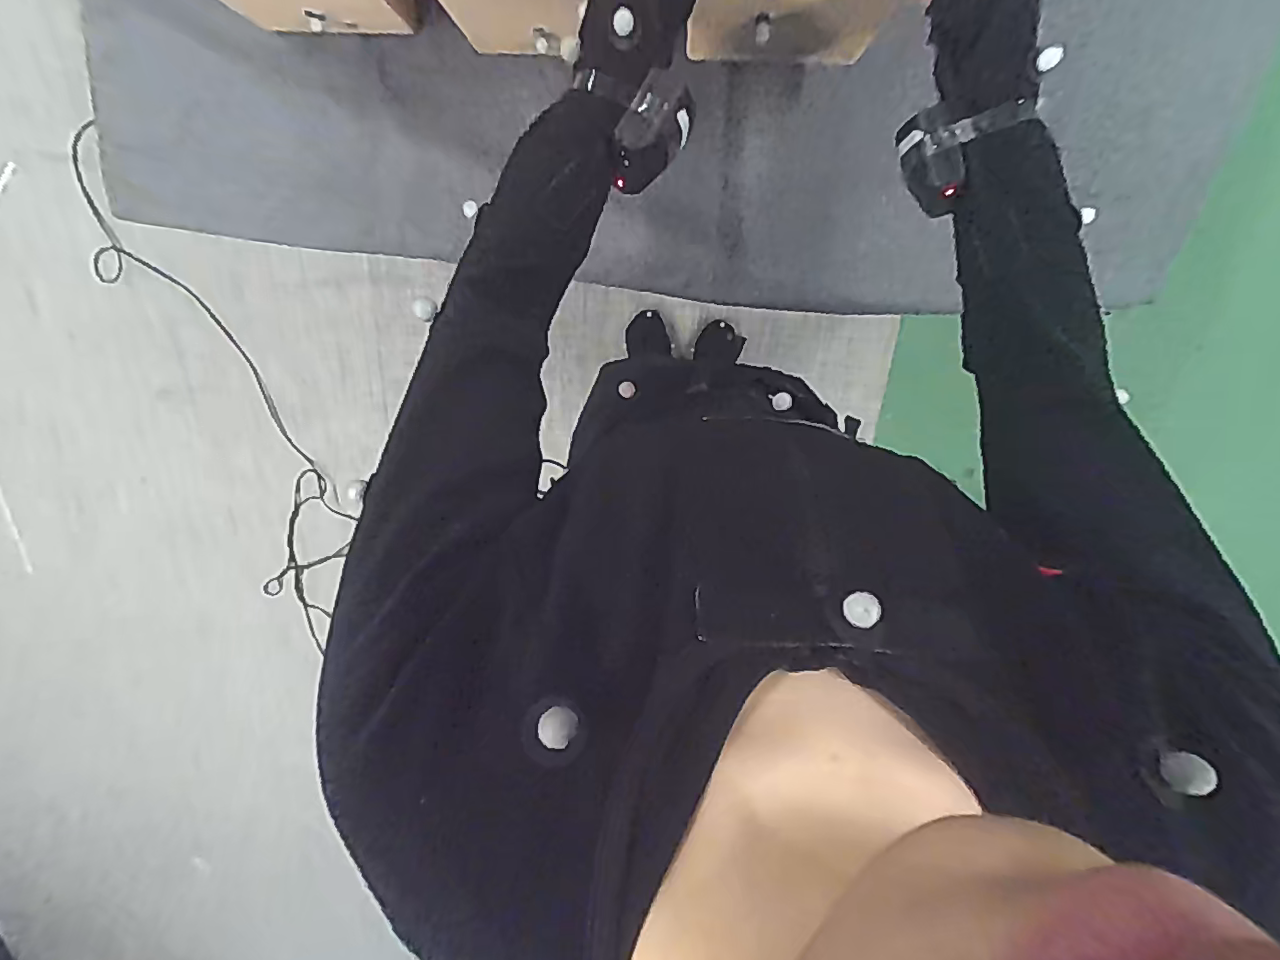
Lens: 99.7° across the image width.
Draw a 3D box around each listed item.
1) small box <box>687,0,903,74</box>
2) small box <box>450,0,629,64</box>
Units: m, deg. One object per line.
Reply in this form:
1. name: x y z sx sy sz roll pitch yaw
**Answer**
1. small box: 0.128 -0.463 0.444 0.168 0.176 0.179 4 109 3
2. small box: -0.092 -0.505 0.474 0.168 0.176 0.179 3 110 1
